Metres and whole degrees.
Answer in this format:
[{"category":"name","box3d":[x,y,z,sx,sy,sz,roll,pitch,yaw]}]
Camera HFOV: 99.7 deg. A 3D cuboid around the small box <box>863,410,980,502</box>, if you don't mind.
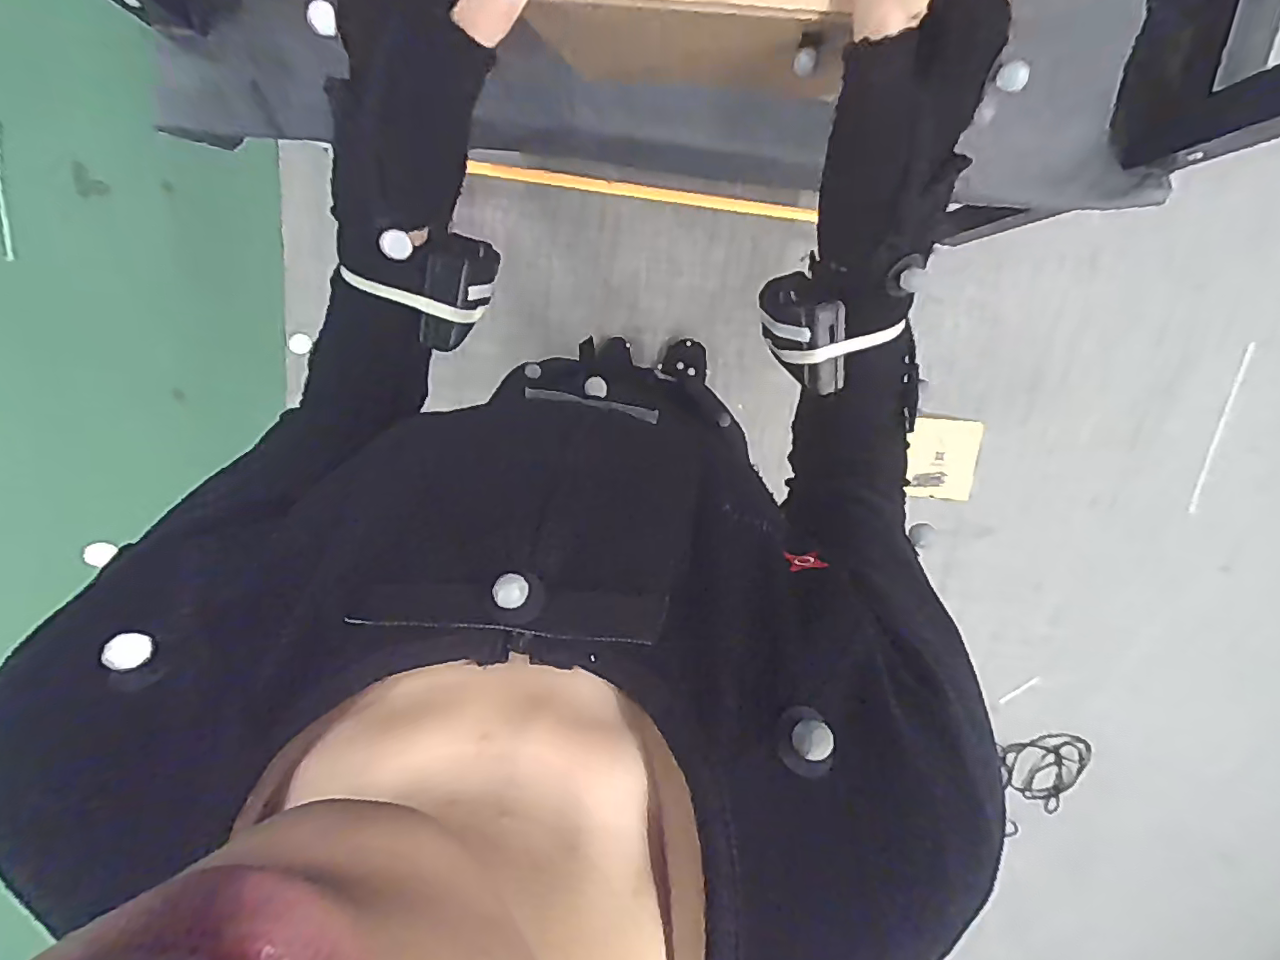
[{"category":"small box","box3d":[0.629,-0.059,1.234,0.168,0.176,0.179,4,102,-2]}]
